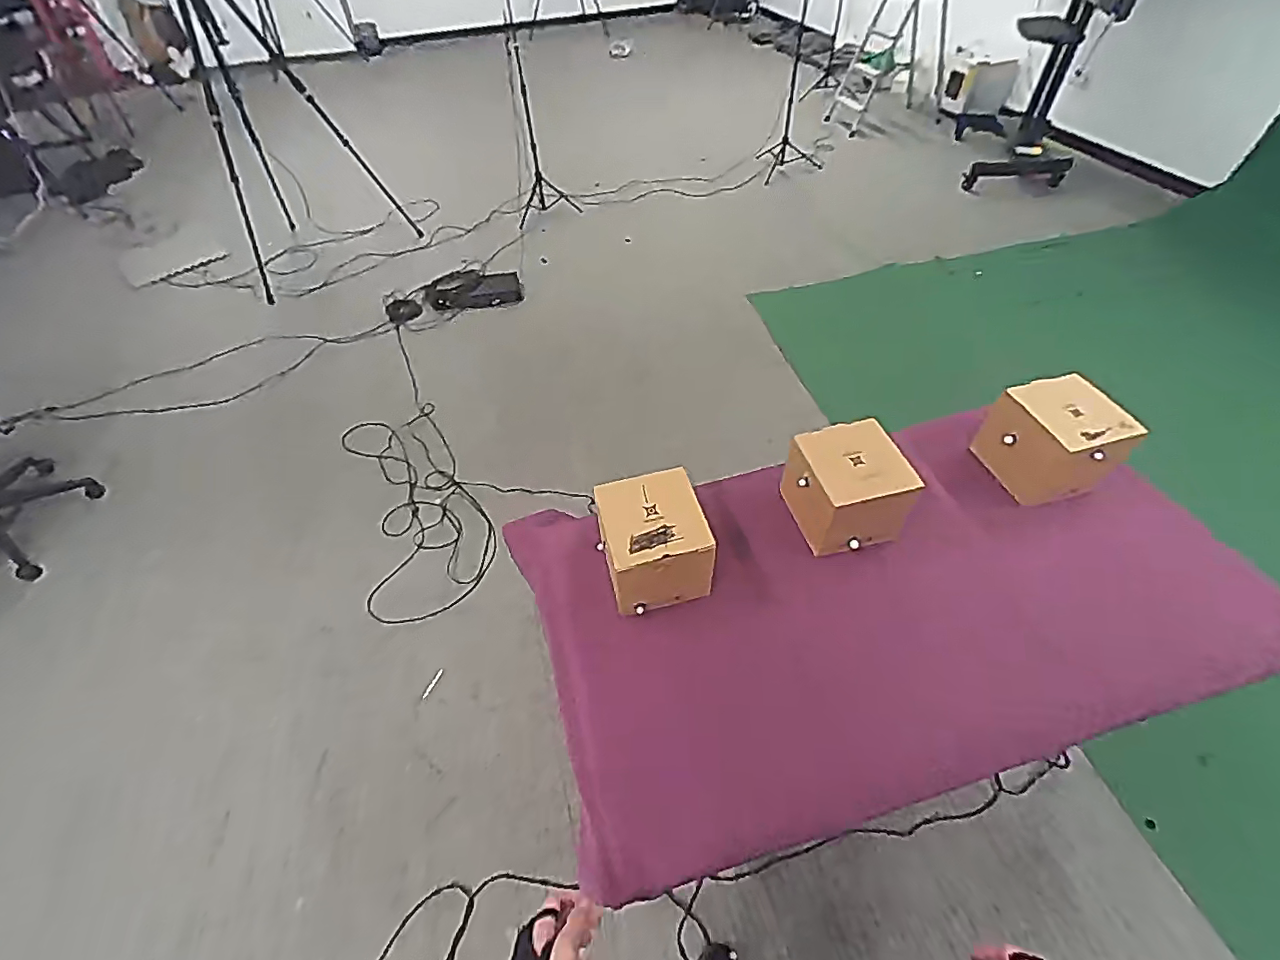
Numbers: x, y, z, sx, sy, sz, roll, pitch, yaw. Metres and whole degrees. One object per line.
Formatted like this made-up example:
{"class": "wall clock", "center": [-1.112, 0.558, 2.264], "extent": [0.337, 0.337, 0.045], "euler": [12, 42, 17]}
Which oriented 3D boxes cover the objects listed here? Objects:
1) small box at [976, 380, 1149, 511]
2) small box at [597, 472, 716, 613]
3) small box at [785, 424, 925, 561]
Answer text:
{"class": "small box", "center": [0.812, -0.067, 1.064], "extent": [0.168, 0.176, 0.179], "euler": [-14, 50, -7]}
{"class": "small box", "center": [0.027, 0.117, 0.953], "extent": [0.168, 0.176, 0.179], "euler": [-12, 50, -8]}
{"class": "small box", "center": [0.387, 0.025, 1.015], "extent": [0.168, 0.176, 0.179], "euler": [-12, 51, -6]}
